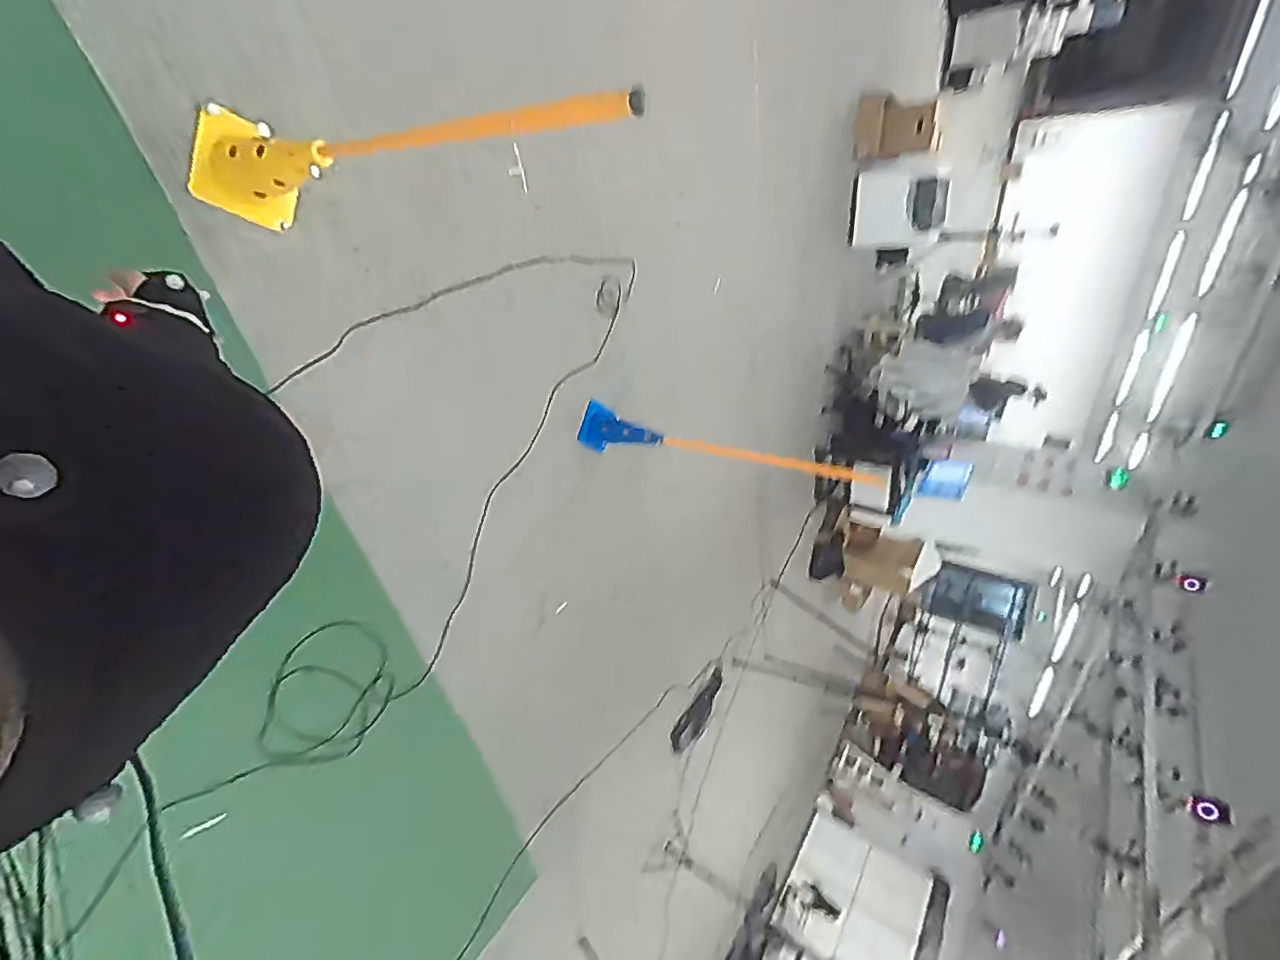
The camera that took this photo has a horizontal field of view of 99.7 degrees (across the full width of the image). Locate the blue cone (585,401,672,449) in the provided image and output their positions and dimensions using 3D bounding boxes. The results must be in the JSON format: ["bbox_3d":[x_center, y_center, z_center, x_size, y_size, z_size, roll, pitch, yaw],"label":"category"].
[{"bbox_3d":[-0.032,-0.209,2.299,0.193,0.380,0.192,21,84,-58],"label":"blue cone"}]
